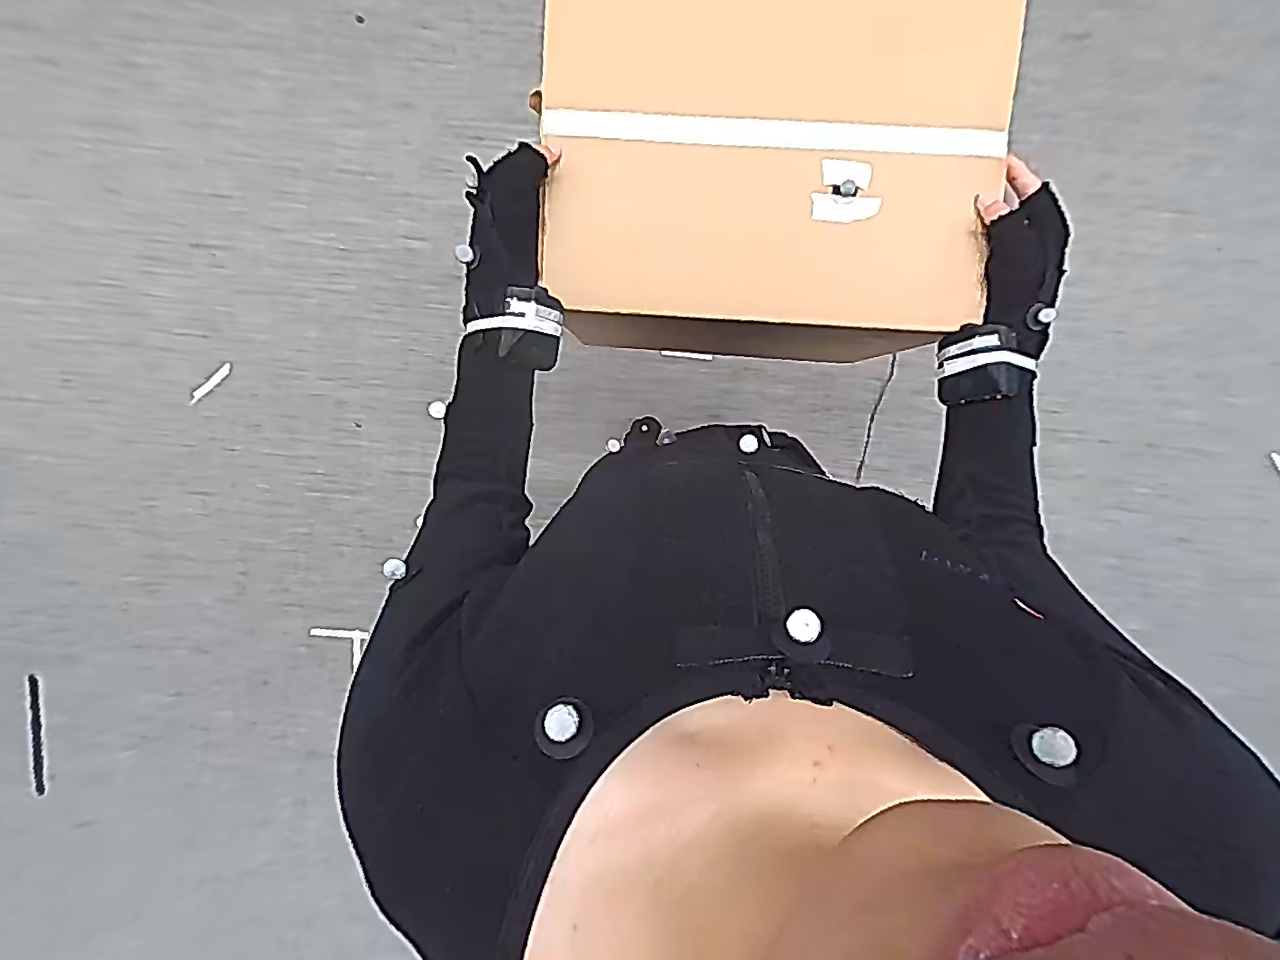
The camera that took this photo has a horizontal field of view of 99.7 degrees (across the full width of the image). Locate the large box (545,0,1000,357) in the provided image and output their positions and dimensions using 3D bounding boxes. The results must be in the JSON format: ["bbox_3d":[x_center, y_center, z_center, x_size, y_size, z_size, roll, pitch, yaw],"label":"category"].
[{"bbox_3d":[0.114,-0.323,0.638,0.408,0.320,0.320,3,98,0],"label":"large box"}]
